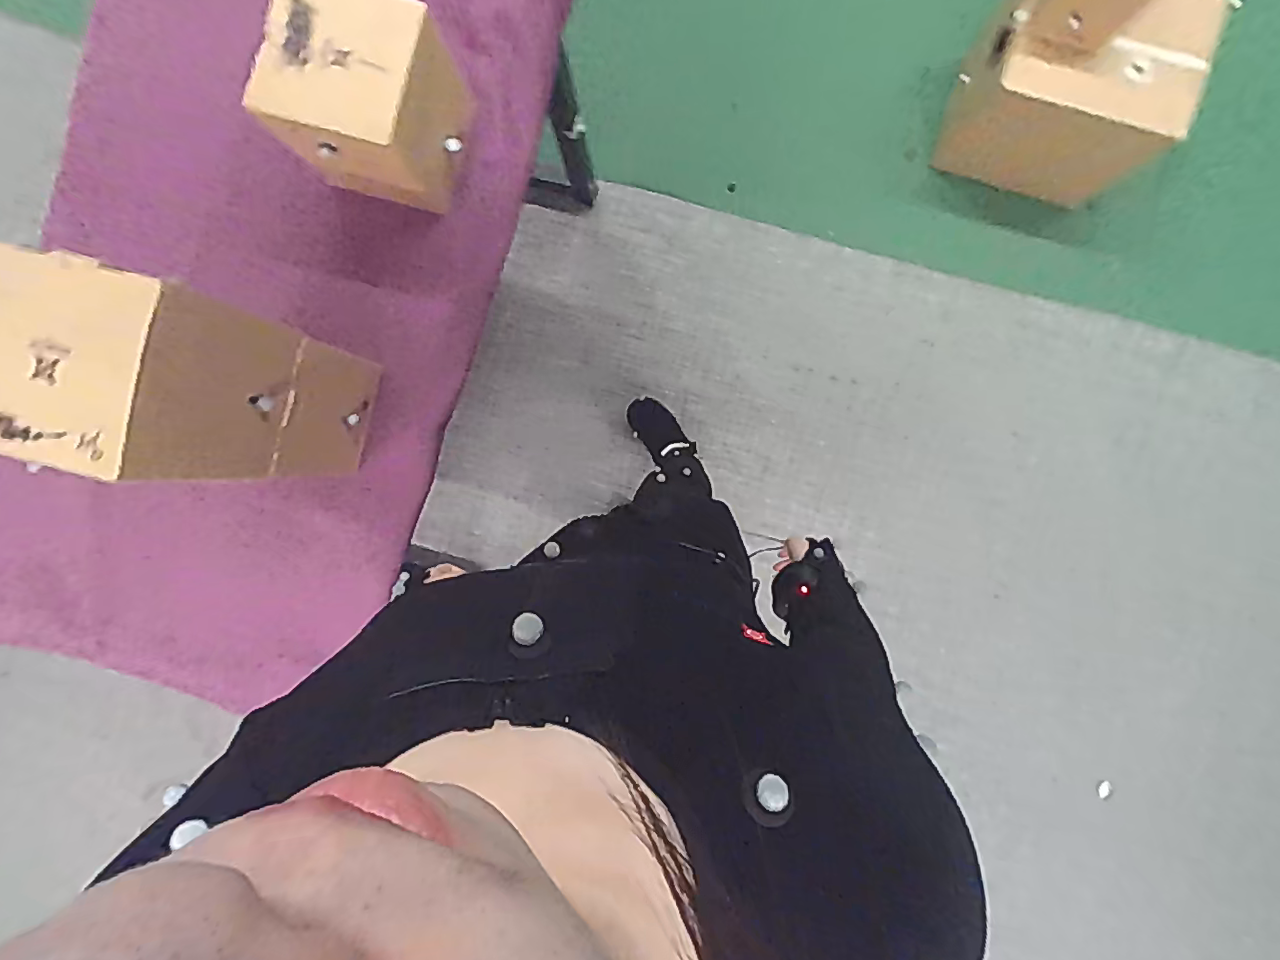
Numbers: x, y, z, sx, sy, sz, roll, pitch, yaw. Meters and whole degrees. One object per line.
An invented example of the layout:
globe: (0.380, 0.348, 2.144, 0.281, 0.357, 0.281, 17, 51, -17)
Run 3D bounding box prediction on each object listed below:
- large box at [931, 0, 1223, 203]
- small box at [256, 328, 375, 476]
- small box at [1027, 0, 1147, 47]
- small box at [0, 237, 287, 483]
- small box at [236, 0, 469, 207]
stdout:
large box: (0.994, -0.928, 1.286, 0.408, 0.320, 0.320, 17, 92, 1)
small box: (-0.478, -0.103, 0.685, 0.179, 0.176, 0.168, 14, 92, 3)
small box: (0.899, -1.005, 1.045, 0.168, 0.176, 0.179, 17, 91, 1)
small box: (-0.485, -0.100, 0.522, 0.168, 0.176, 0.179, 14, 90, 4)
small box: (-0.343, -0.474, 0.677, 0.179, 0.176, 0.168, 16, 92, 2)
